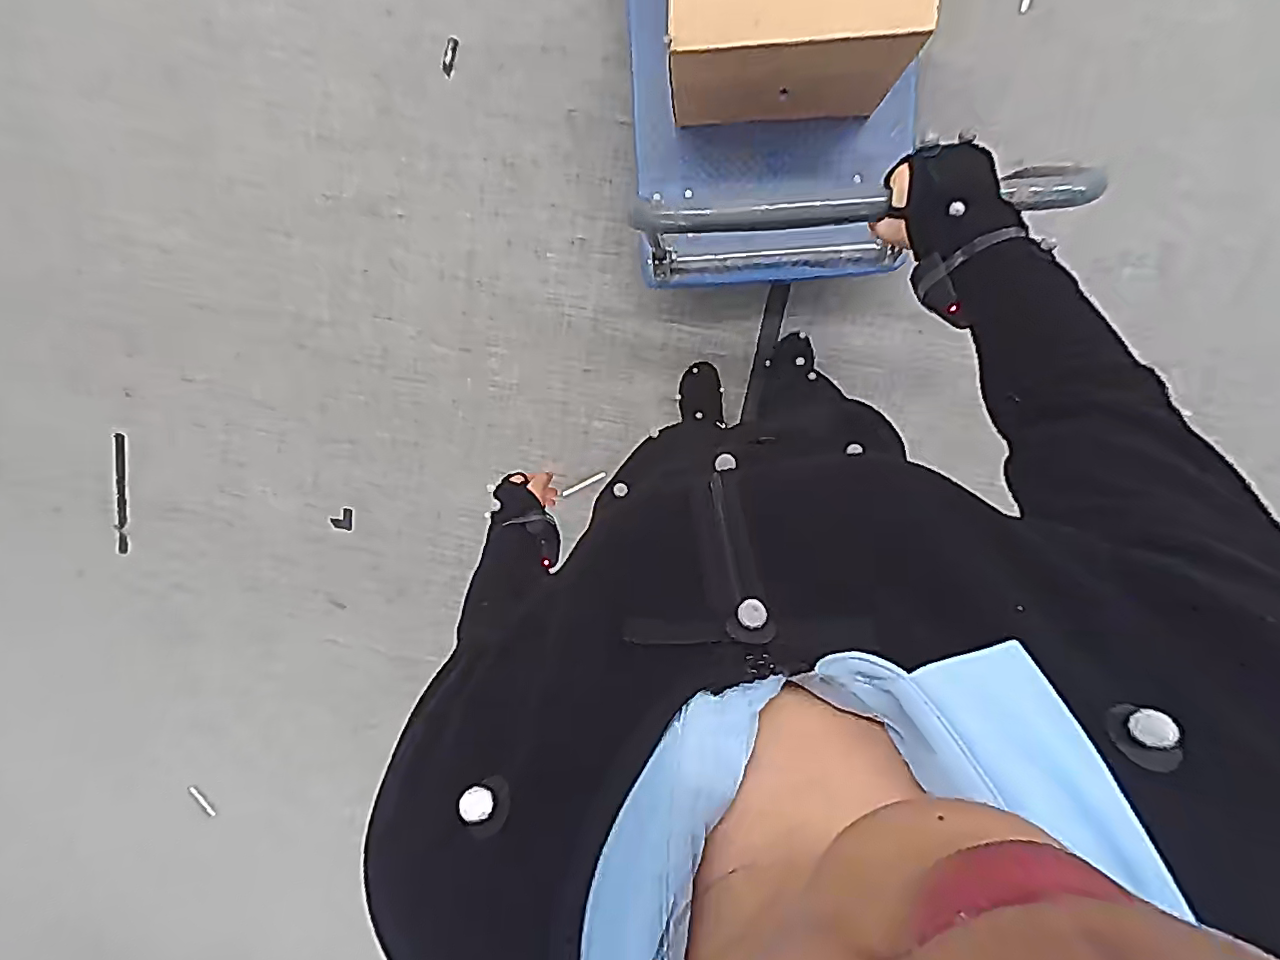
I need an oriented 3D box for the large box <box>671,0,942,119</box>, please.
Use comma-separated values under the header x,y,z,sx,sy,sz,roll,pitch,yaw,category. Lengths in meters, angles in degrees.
x,y,z,sx,sy,sz,roll,pitch,yaw,category
0.262,-0.862,0.927,0.408,0.320,0.320,1,103,7,large box
